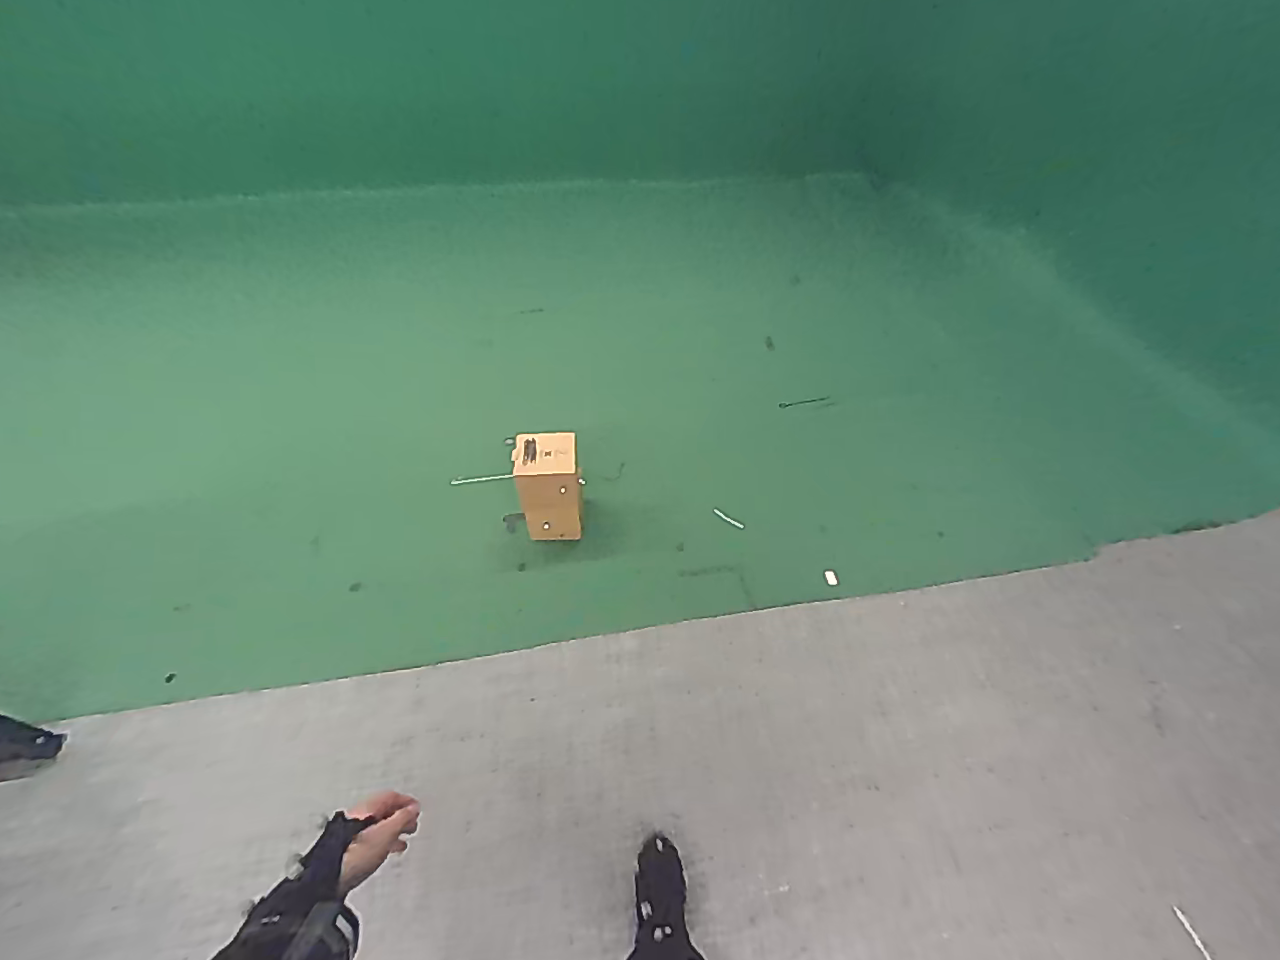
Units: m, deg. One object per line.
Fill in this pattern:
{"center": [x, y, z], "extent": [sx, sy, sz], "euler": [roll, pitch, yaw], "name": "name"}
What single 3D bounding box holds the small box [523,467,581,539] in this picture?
{"center": [-0.278, 0.079, 1.748], "extent": [0.168, 0.176, 0.179], "euler": [-1, 50, -3], "name": "small box"}
